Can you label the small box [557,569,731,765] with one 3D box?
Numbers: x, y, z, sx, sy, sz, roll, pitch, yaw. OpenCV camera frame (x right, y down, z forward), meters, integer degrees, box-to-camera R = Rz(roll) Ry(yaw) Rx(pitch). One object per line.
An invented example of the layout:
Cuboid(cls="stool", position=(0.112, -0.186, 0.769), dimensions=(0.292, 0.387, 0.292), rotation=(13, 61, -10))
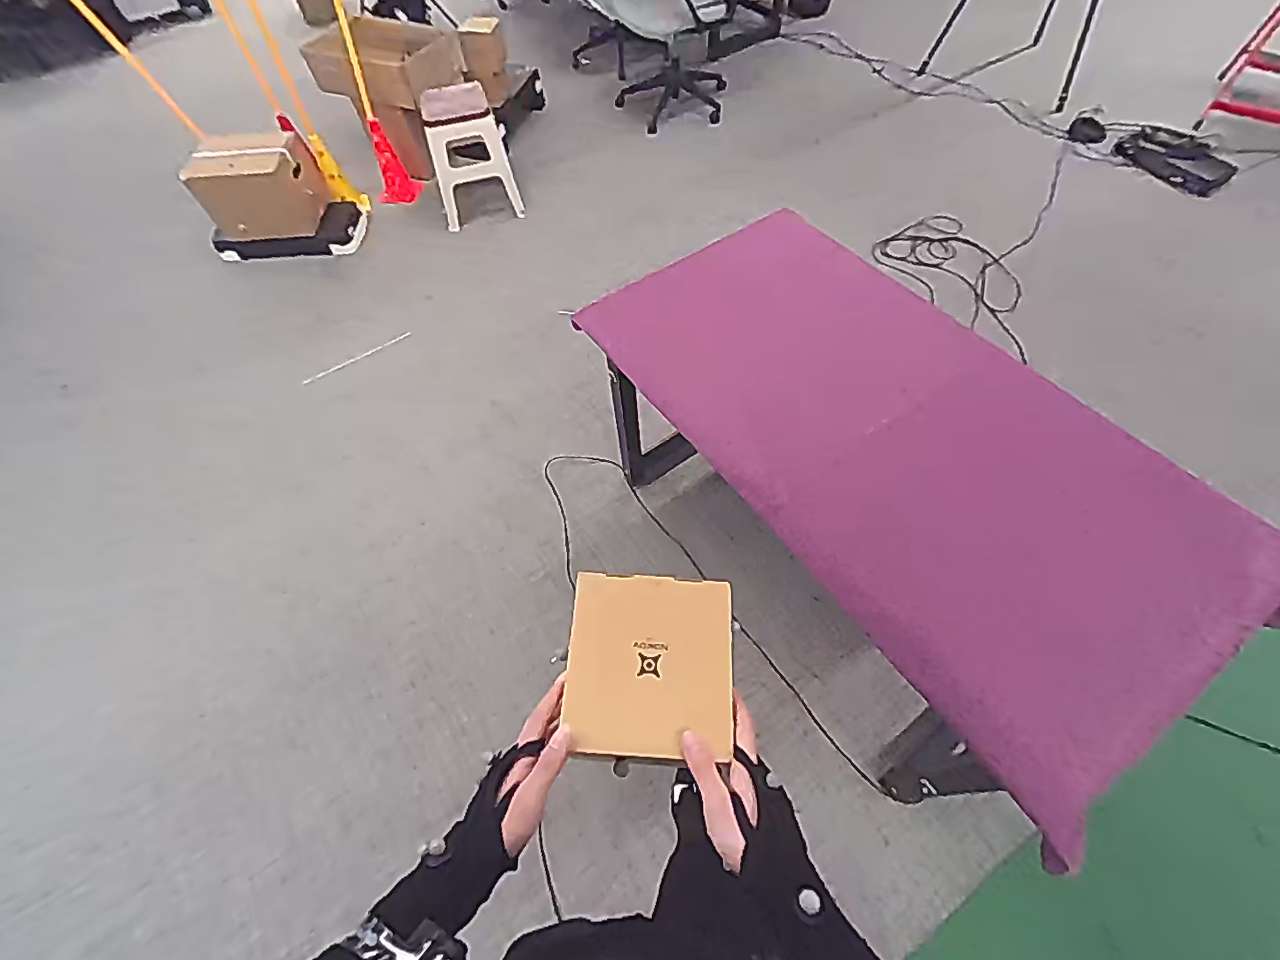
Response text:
Cuboid(cls="small box", position=(0.009, 0.215, 0.607), dimensions=(0.168, 0.176, 0.179), rotation=(3, 59, 1))
